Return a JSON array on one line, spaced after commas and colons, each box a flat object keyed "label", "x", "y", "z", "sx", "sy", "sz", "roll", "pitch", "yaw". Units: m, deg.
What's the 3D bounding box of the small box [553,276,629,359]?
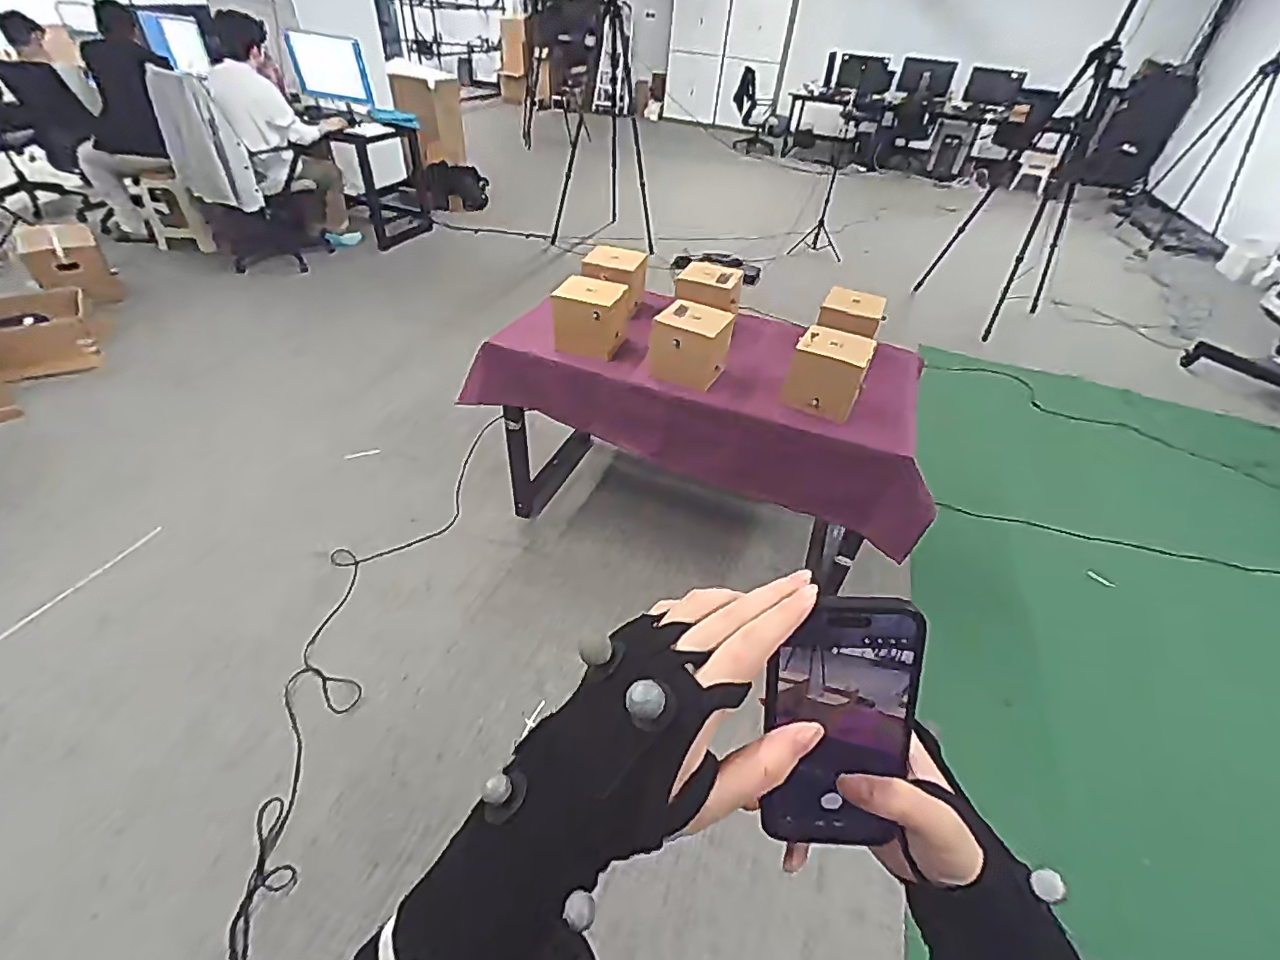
[{"label": "small box", "x": -0.143, "y": -0.473, "z": 1.578, "sx": 0.179, "sy": 0.176, "sz": 0.168, "roll": 15, "pitch": 42, "yaw": 8}]

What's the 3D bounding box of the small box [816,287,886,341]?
[{"label": "small box", "x": 0.629, "y": -0.462, "z": 1.649, "sx": 0.168, "sy": 0.176, "sz": 0.179, "roll": 20, "pitch": 44, "yaw": 17}]

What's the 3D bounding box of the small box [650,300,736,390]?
[{"label": "small box", "x": 0.142, "y": -0.371, "z": 1.493, "sx": 0.179, "sy": 0.176, "sz": 0.168, "roll": 23, "pitch": 44, "yaw": 18}]

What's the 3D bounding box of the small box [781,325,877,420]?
[{"label": "small box", "x": 0.496, "y": -0.281, "z": 1.429, "sx": 0.179, "sy": 0.176, "sz": 0.168, "roll": 23, "pitch": 44, "yaw": 19}]
